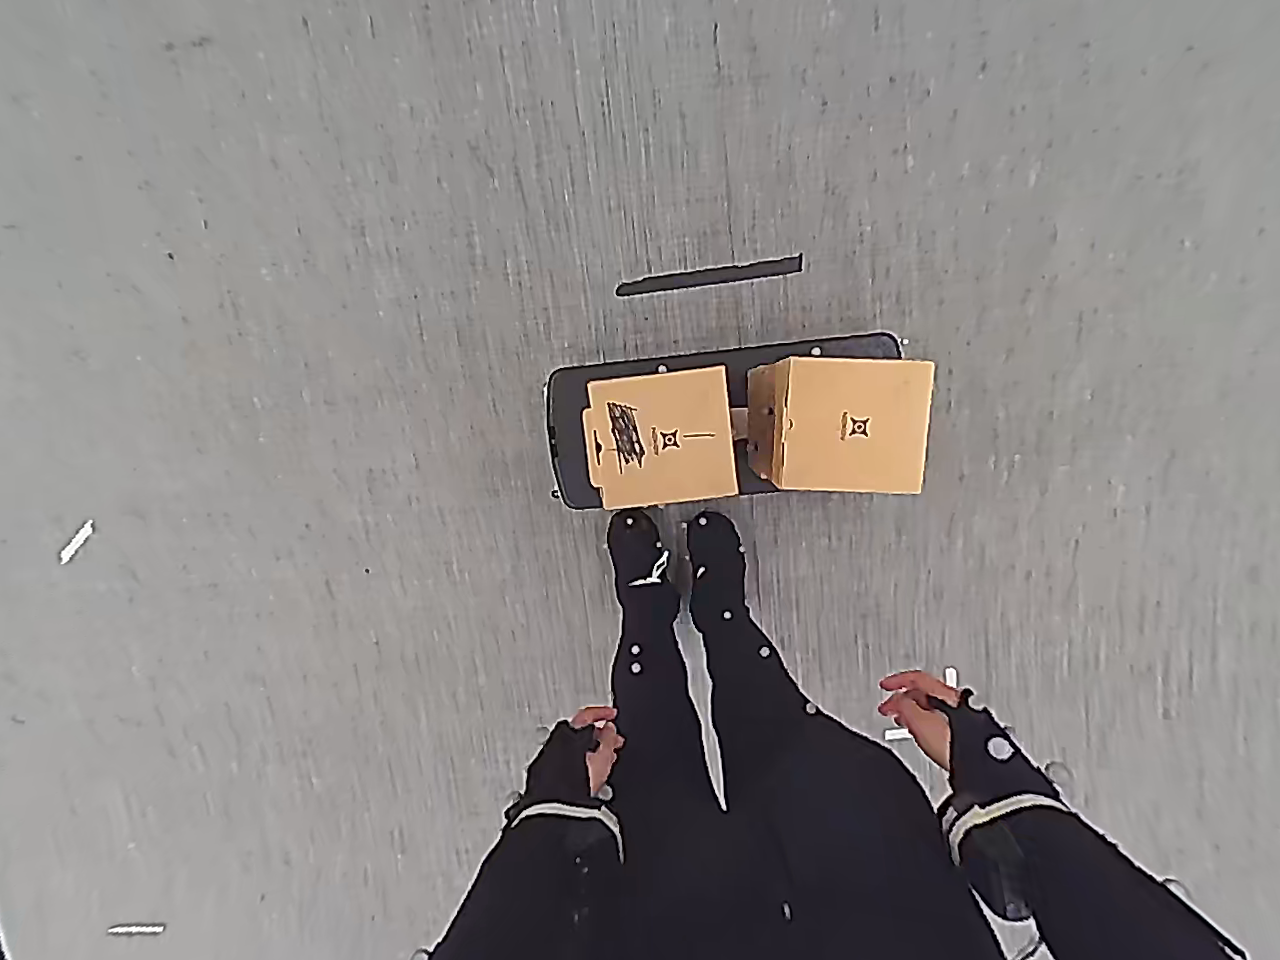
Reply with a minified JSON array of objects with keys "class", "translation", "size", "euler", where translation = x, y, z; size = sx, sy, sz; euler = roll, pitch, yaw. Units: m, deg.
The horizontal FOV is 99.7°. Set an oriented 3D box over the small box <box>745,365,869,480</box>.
[{"class":"small box","translation":[0.269,-0.098,0.905],"size":[0.168,0.176,0.179],"euler":[-1,98,4]}]
